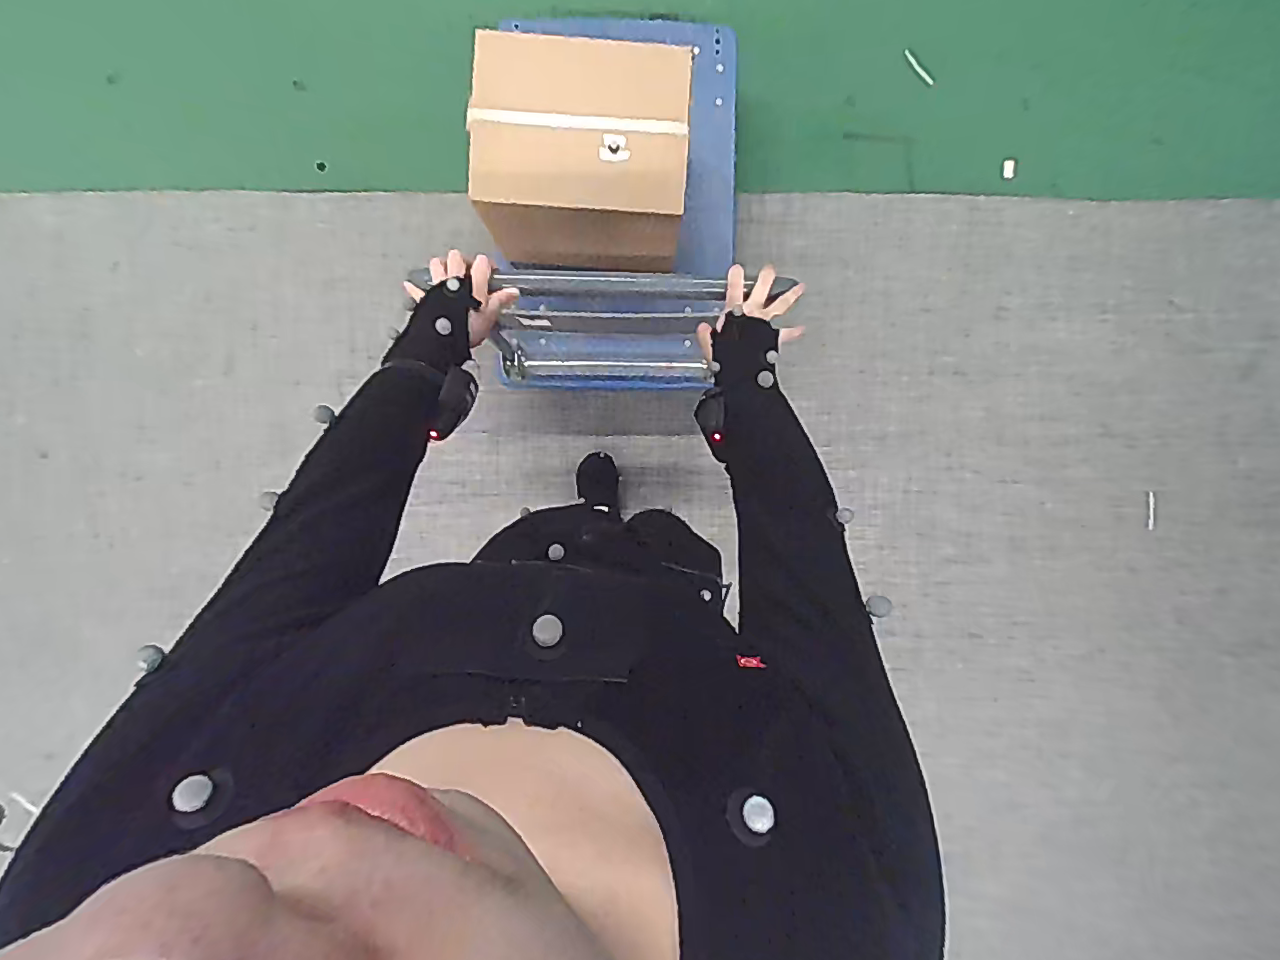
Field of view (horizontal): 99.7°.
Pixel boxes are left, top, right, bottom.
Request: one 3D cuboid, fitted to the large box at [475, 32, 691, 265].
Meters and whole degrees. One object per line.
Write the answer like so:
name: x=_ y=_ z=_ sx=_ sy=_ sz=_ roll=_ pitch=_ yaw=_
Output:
large box: x=-0.115 y=-0.681 z=1.168 sx=0.408 sy=0.320 sz=0.320 roll=3 pitch=92 yaw=-2
